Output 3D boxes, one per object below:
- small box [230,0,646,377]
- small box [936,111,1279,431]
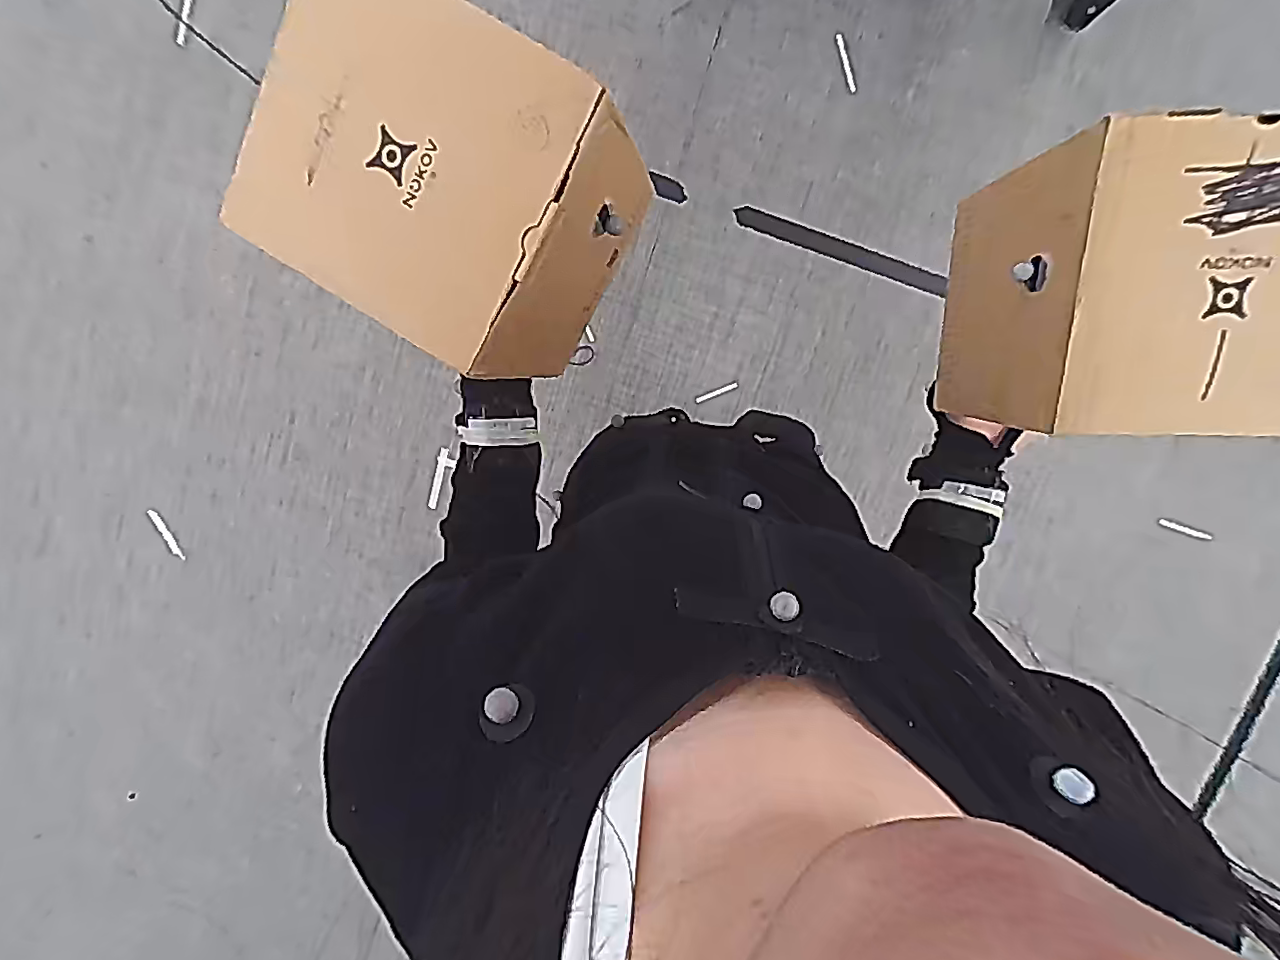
[{"bbox_3d":[-0.113,-0.186,0.369,0.179,0.176,0.168,31,103,3],"label":"small box"},{"bbox_3d":[0.337,-0.131,0.386,0.168,0.176,0.179,1,103,4],"label":"small box"}]
